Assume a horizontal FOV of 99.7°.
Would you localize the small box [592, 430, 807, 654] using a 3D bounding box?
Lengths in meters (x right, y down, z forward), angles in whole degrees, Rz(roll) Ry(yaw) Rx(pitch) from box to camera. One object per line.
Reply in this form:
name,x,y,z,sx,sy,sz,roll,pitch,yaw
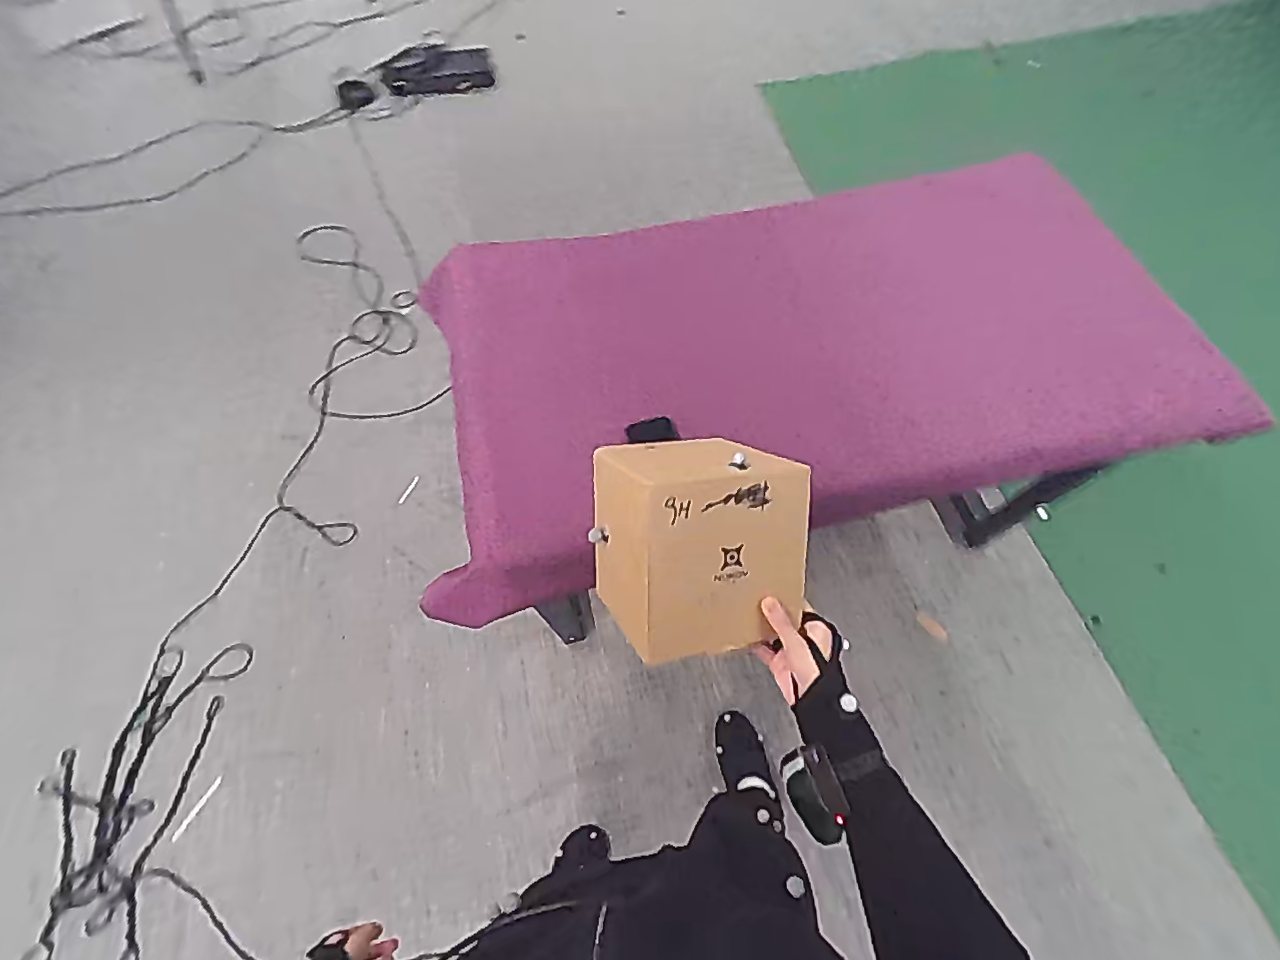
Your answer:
small box,0.051,0.050,0.569,0.168,0.176,0.179,-6,105,-20
